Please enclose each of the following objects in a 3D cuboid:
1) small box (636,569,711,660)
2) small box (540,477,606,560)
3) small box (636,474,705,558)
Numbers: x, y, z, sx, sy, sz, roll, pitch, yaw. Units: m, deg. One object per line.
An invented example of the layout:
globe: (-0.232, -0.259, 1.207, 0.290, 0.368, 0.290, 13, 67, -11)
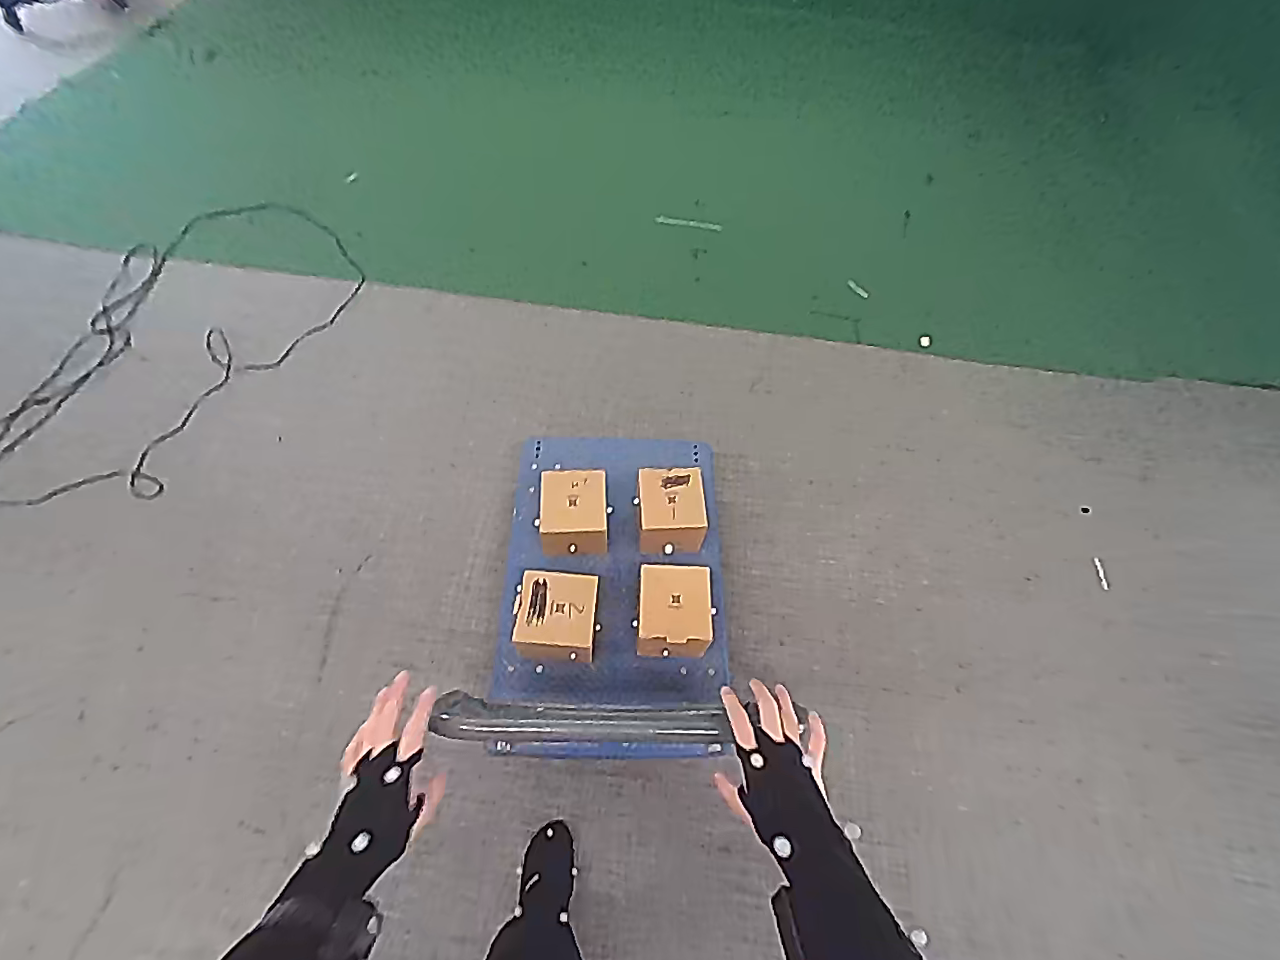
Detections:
small box: (0.077, 0.333, 1.332, 0.168, 0.176, 0.179, 2, 60, -2)
small box: (-0.175, 0.108, 1.448, 0.168, 0.176, 0.179, -1, 59, -5)
small box: (0.076, 0.100, 1.469, 0.168, 0.176, 0.179, -2, 60, -4)
